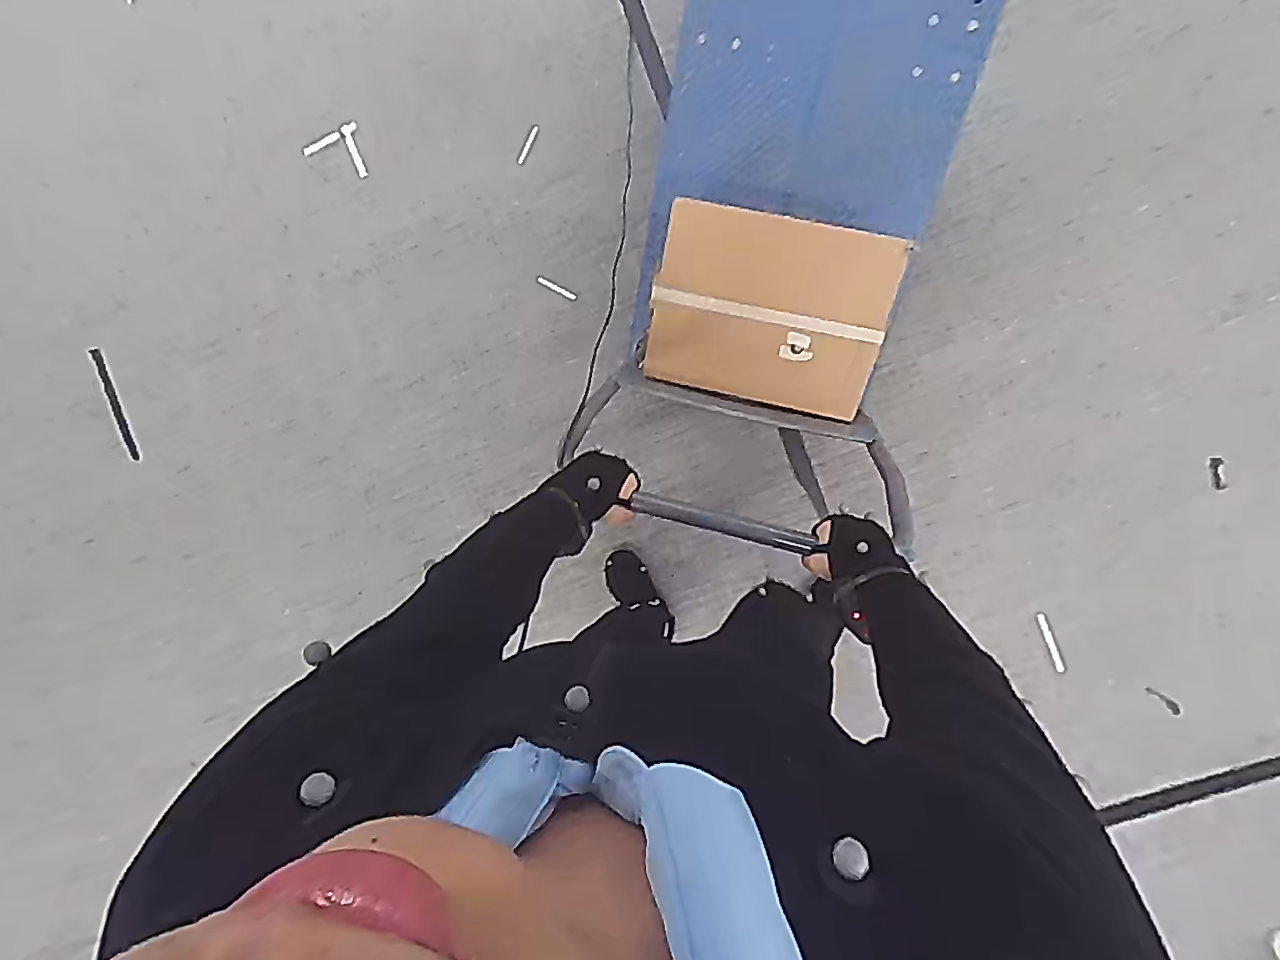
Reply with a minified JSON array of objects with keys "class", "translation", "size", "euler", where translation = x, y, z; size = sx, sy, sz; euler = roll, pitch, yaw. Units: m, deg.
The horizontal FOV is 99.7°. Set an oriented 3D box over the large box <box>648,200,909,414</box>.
[{"class":"large box","translation":[0.255,-0.356,1.112],"size":[0.408,0.320,0.320],"euler":[14,113,5]}]
